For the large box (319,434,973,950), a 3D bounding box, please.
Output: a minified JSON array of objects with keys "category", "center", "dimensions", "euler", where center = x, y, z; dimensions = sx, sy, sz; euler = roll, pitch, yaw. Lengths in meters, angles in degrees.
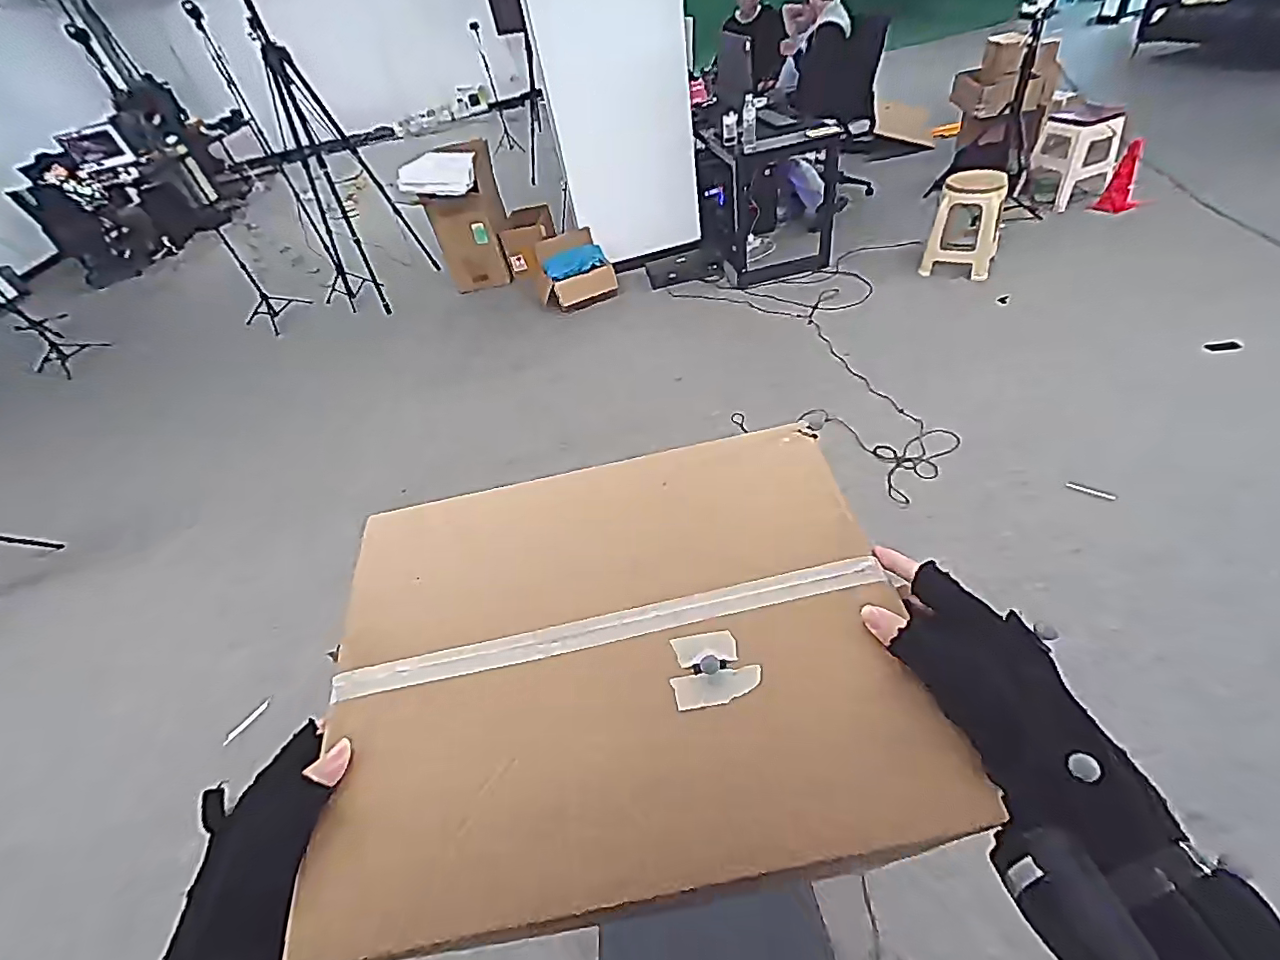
[{"category":"large box","center":[-0.001,0.207,0.523],"dimensions":[0.408,0.320,0.320],"euler":[-12,51,0]}]
